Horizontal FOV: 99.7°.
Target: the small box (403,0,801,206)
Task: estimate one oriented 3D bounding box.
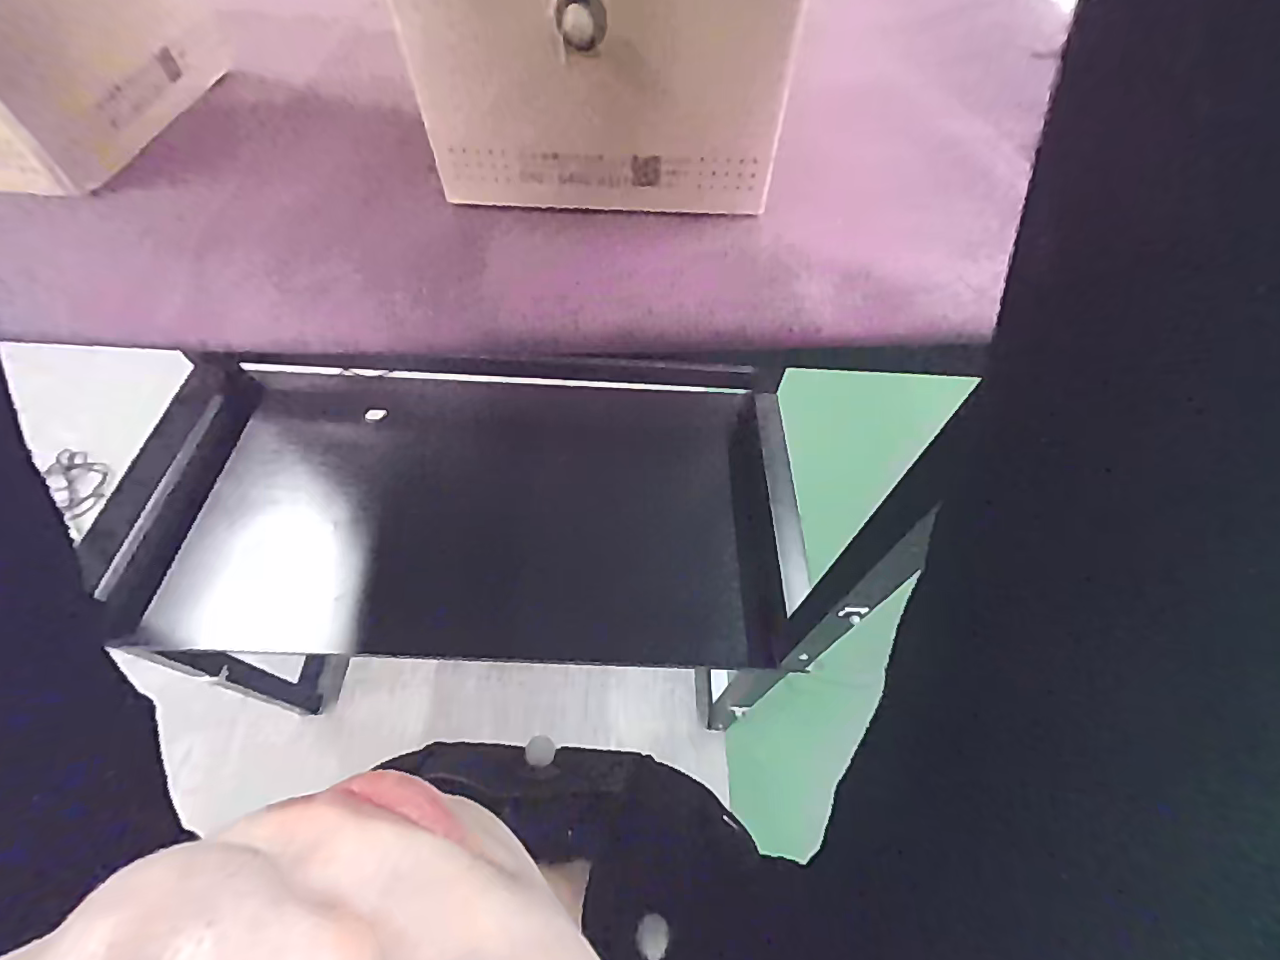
[{"bbox_3d":[-0.011,-0.257,0.261,0.168,0.176,0.179,3,56,0],"label":"small box"}]
